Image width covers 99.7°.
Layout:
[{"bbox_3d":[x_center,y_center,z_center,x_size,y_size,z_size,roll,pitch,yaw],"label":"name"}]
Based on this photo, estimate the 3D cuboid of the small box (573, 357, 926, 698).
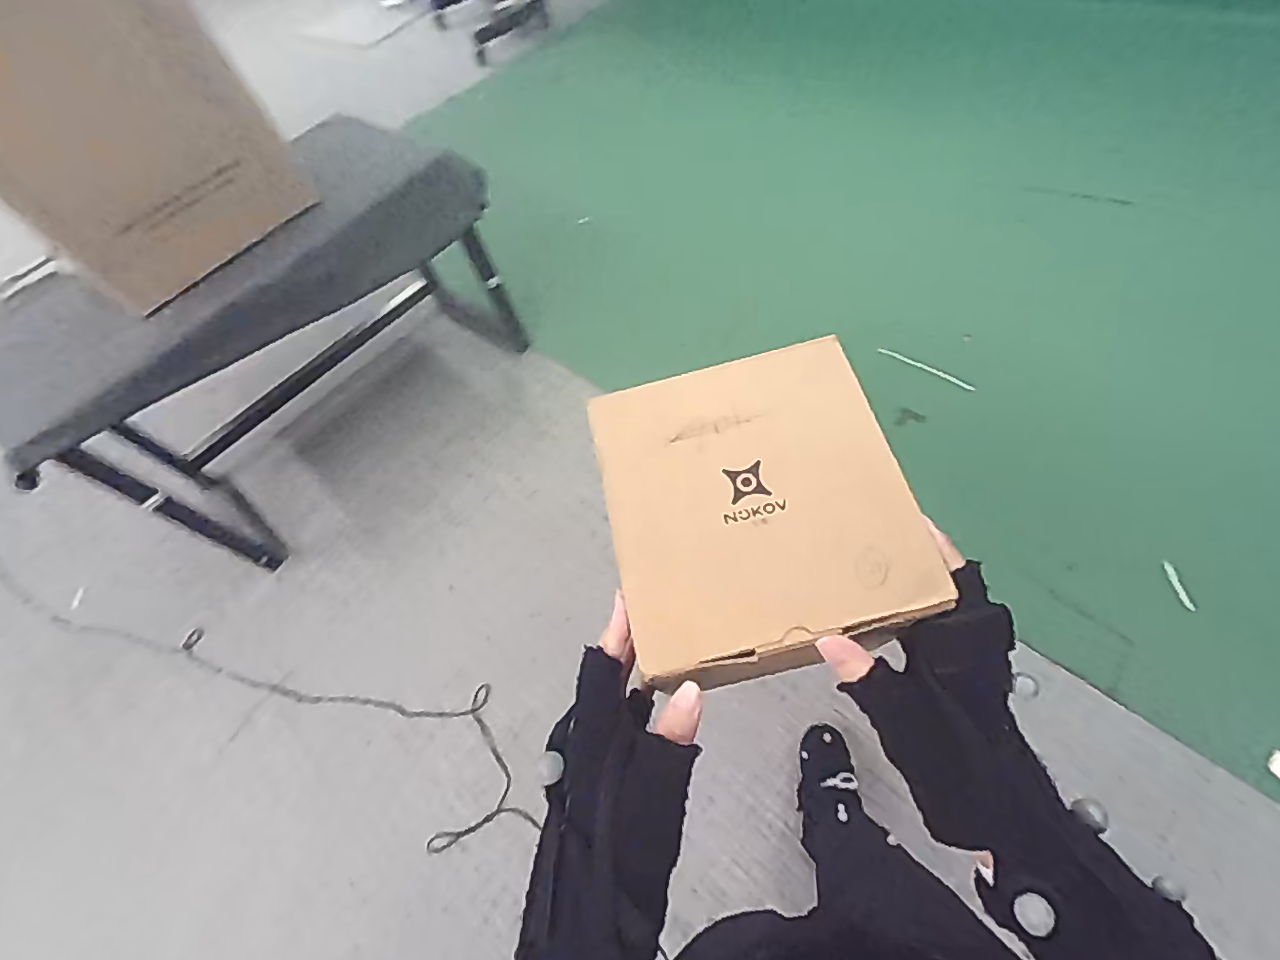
[{"bbox_3d":[0.064,0.049,0.387,0.168,0.176,0.179,-15,63,1],"label":"small box"}]
